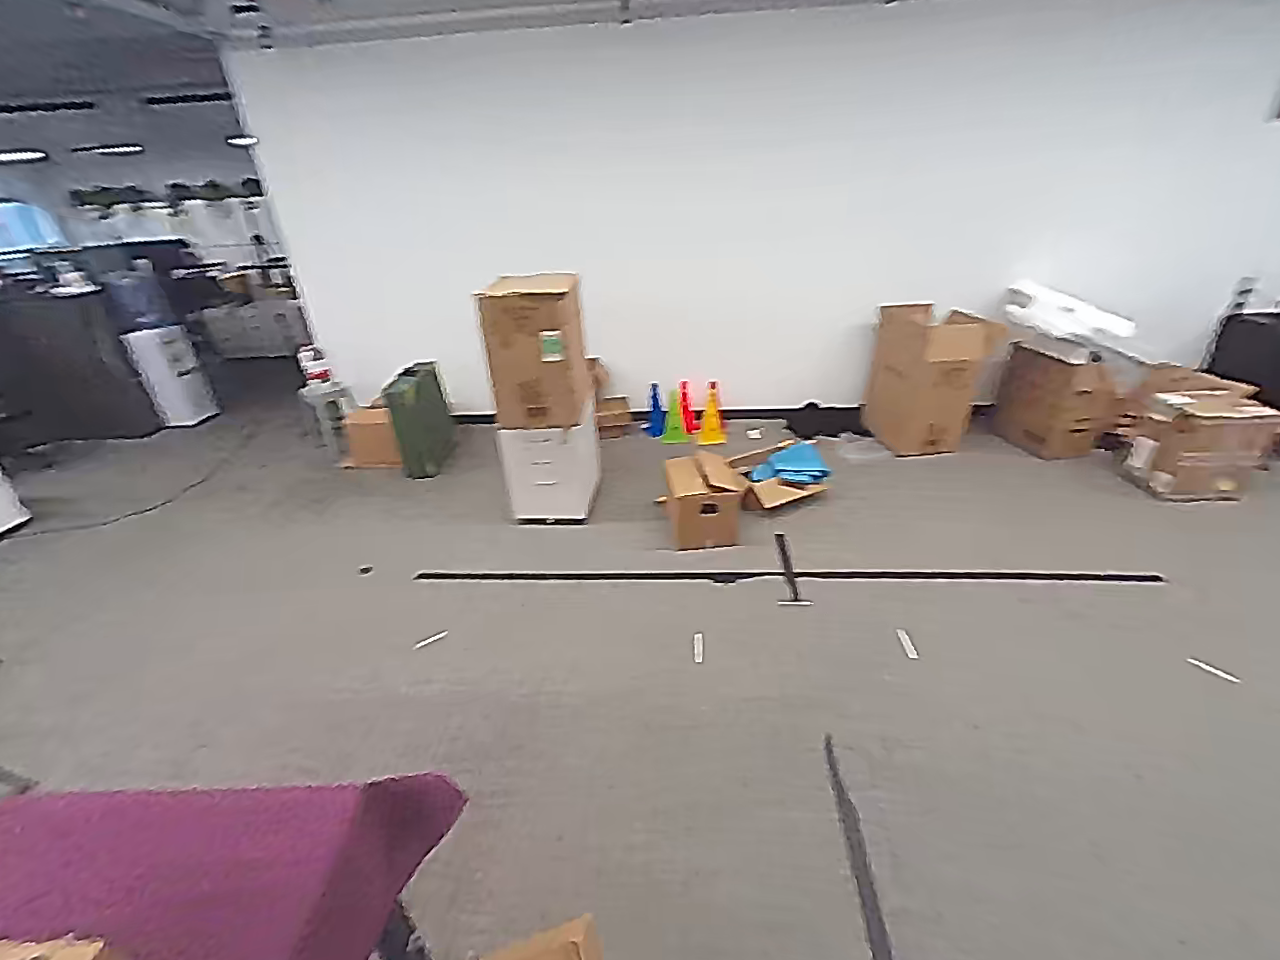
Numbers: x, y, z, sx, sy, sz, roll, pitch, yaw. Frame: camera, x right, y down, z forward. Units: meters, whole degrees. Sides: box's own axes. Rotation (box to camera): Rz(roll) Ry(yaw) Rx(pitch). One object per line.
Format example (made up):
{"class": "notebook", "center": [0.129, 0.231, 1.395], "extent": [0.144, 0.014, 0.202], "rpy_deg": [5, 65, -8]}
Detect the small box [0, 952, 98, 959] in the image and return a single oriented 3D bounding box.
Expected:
{"class": "small box", "center": [-0.649, 0.618, 0.541], "extent": [0.168, 0.176, 0.179], "rpy_deg": [-2, 28, 2]}
